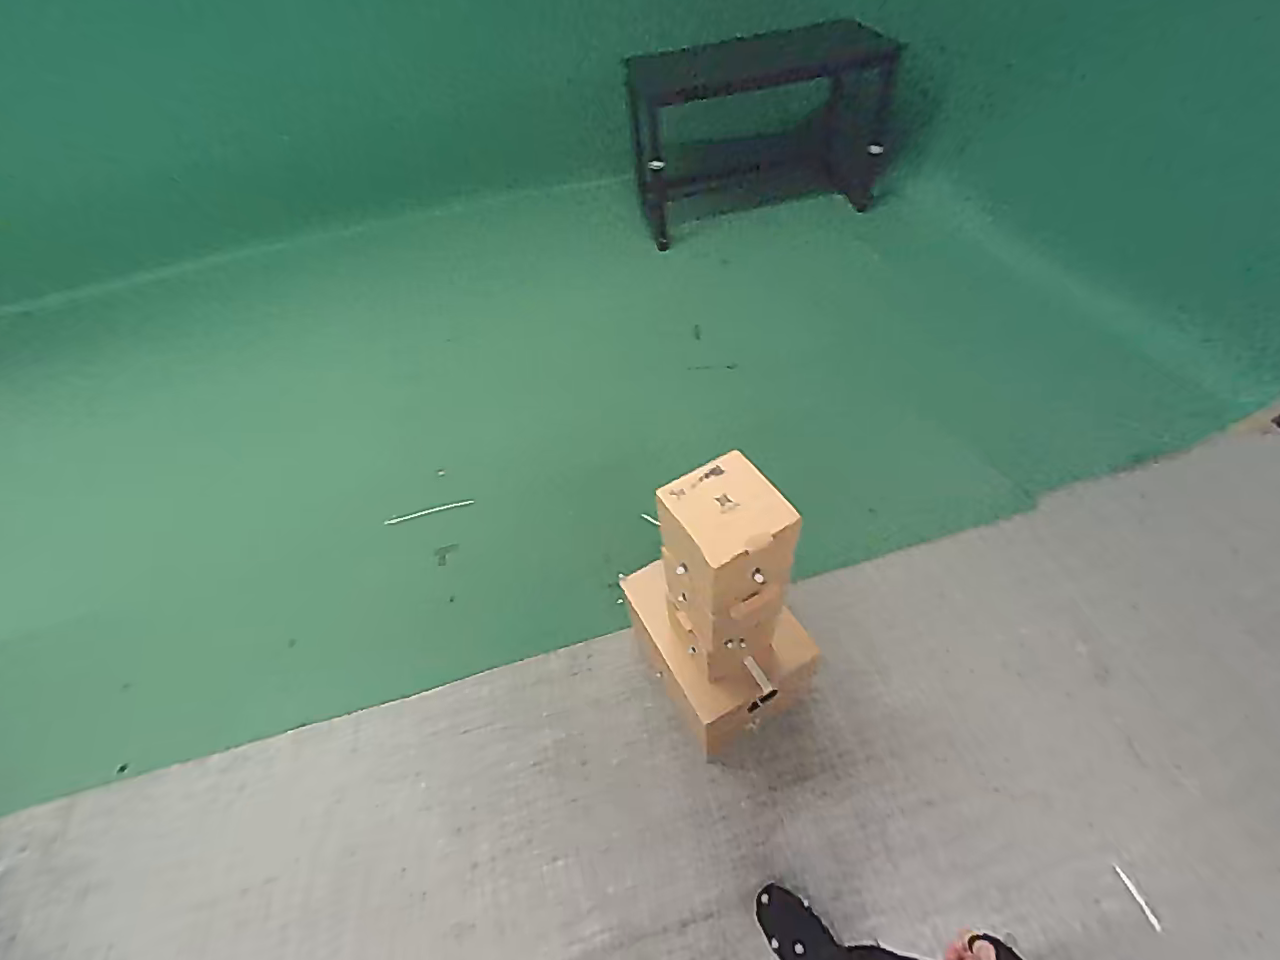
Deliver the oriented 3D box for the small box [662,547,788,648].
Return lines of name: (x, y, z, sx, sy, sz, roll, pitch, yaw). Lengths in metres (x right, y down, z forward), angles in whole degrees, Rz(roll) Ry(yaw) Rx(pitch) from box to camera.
small box: (0.161, 0.200, 1.042, 0.168, 0.176, 0.179, -27, 52, -14)

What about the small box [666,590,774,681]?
small box: (0.174, 0.304, 1.169, 0.179, 0.176, 0.168, -25, 52, -13)

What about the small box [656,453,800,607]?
small box: (0.145, 0.093, 0.919, 0.168, 0.176, 0.179, -26, 53, -14)

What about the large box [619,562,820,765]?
large box: (0.192, 0.427, 1.383, 0.320, 0.320, 0.408, -25, 50, -15)
